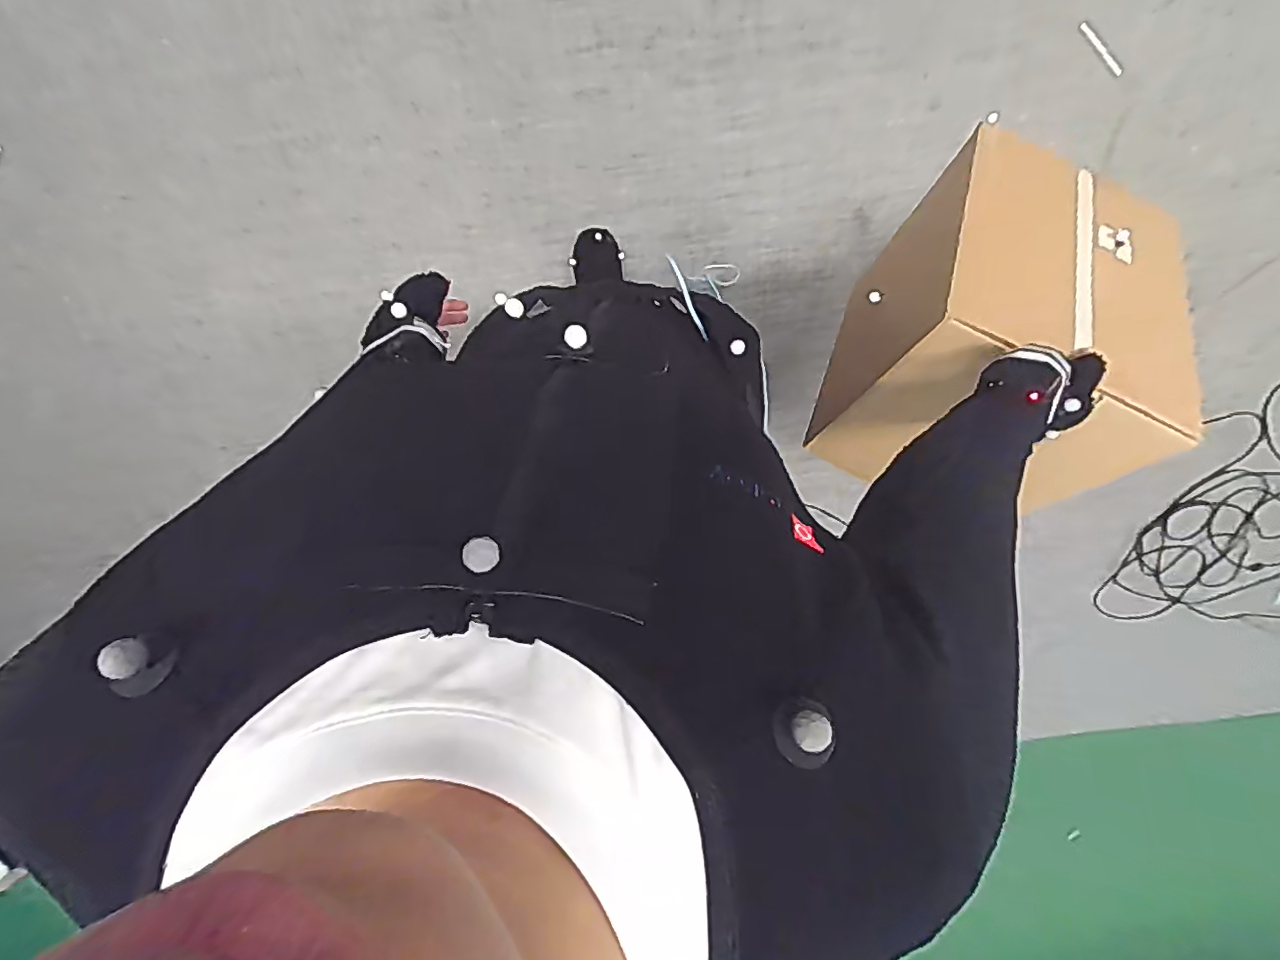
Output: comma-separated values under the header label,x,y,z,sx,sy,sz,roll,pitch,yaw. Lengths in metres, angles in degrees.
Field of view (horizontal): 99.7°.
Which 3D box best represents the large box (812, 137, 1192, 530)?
label,x,y,z,sx,sy,sz,roll,pitch,yaw
large box,0.500,-0.197,0.804,0.320,0.408,0.320,26,153,-3
